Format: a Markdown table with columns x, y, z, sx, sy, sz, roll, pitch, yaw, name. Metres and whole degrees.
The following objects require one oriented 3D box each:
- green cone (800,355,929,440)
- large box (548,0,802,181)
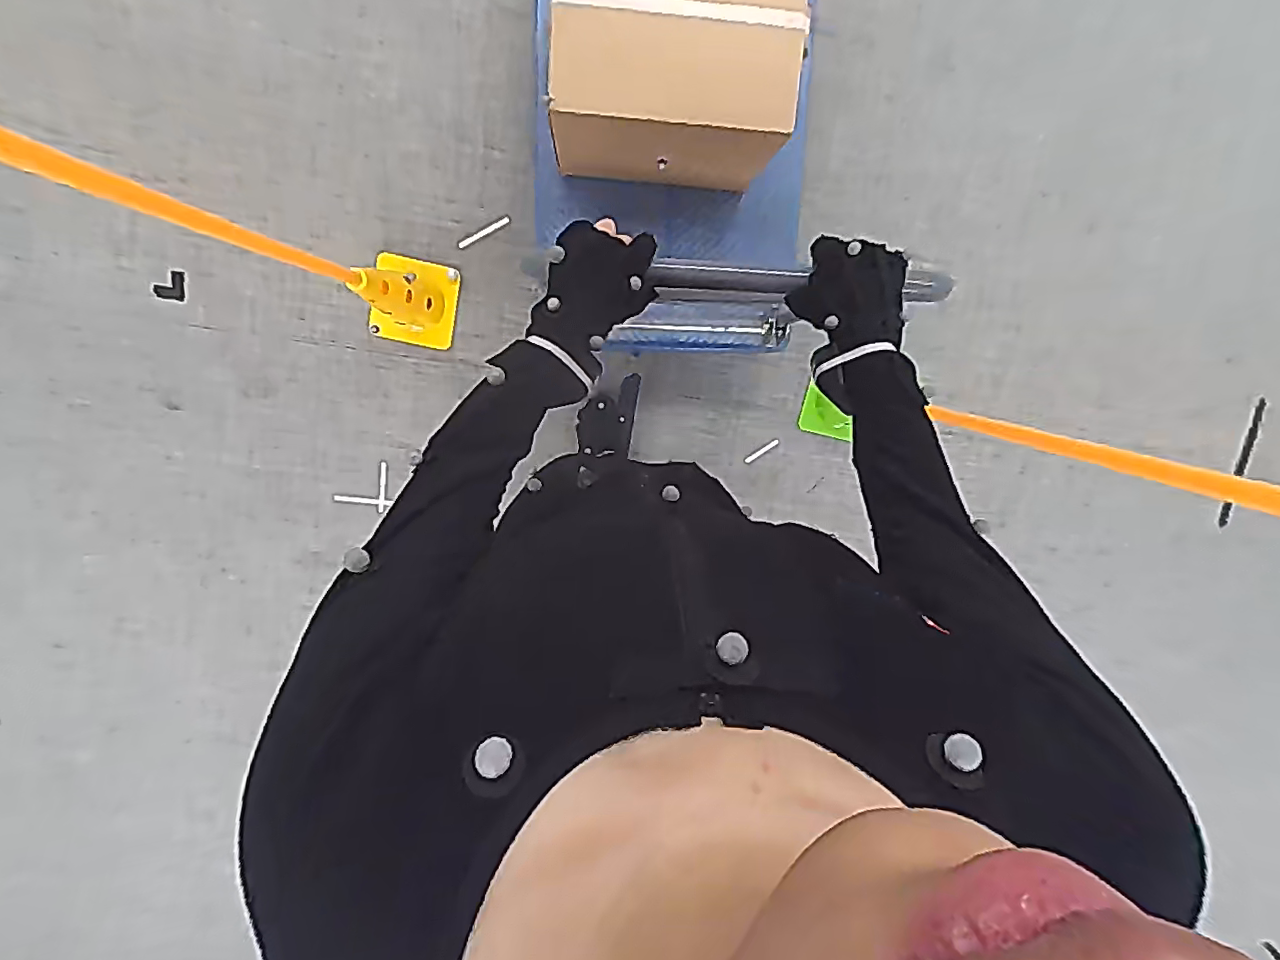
| x | y | z | sx | sy | sz | roll | pitch | yaw | name |
| --- | --- | --- | --- | --- | --- | --- | --- | --- | --- |
| 0.562 | -0.187 | 1.299 | 0.202 | 0.368 | 0.200 | 12 | 100 | -8 | green cone |
| 0.050 | -0.769 | 0.991 | 0.408 | 0.320 | 0.320 | 2 | 102 | -5 | large box |
